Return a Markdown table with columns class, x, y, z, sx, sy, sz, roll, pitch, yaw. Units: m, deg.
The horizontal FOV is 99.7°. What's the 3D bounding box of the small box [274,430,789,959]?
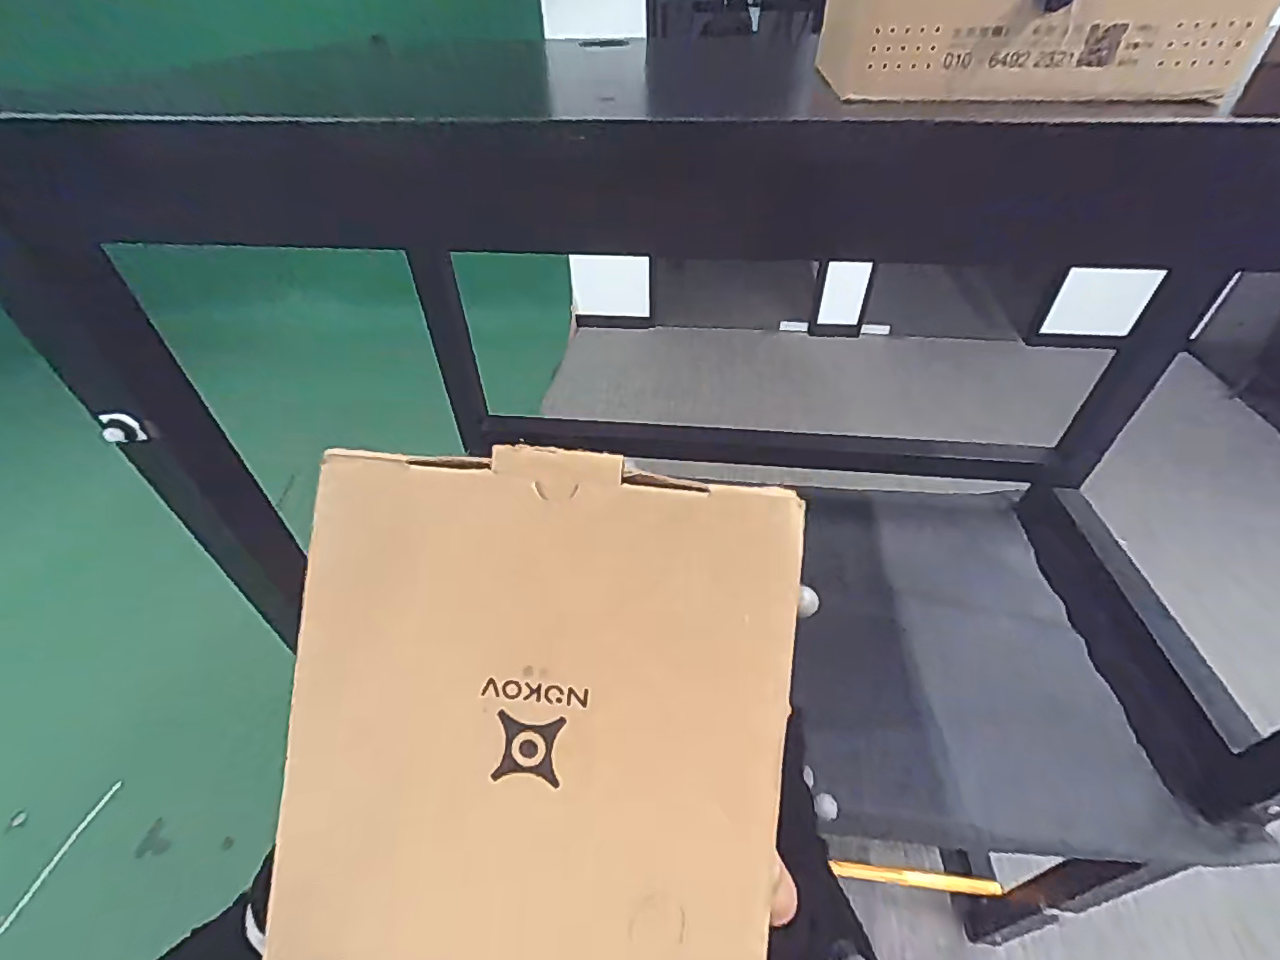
| class | x | y | z | sx | sy | sz | roll | pitch | yaw |
| --- | --- | --- | --- | --- | --- | --- | --- | --- | --- |
| small box | -0.033 | 0.079 | 0.263 | 0.168 | 0.179 | 0.176 | 5 | -3 | 3 |
